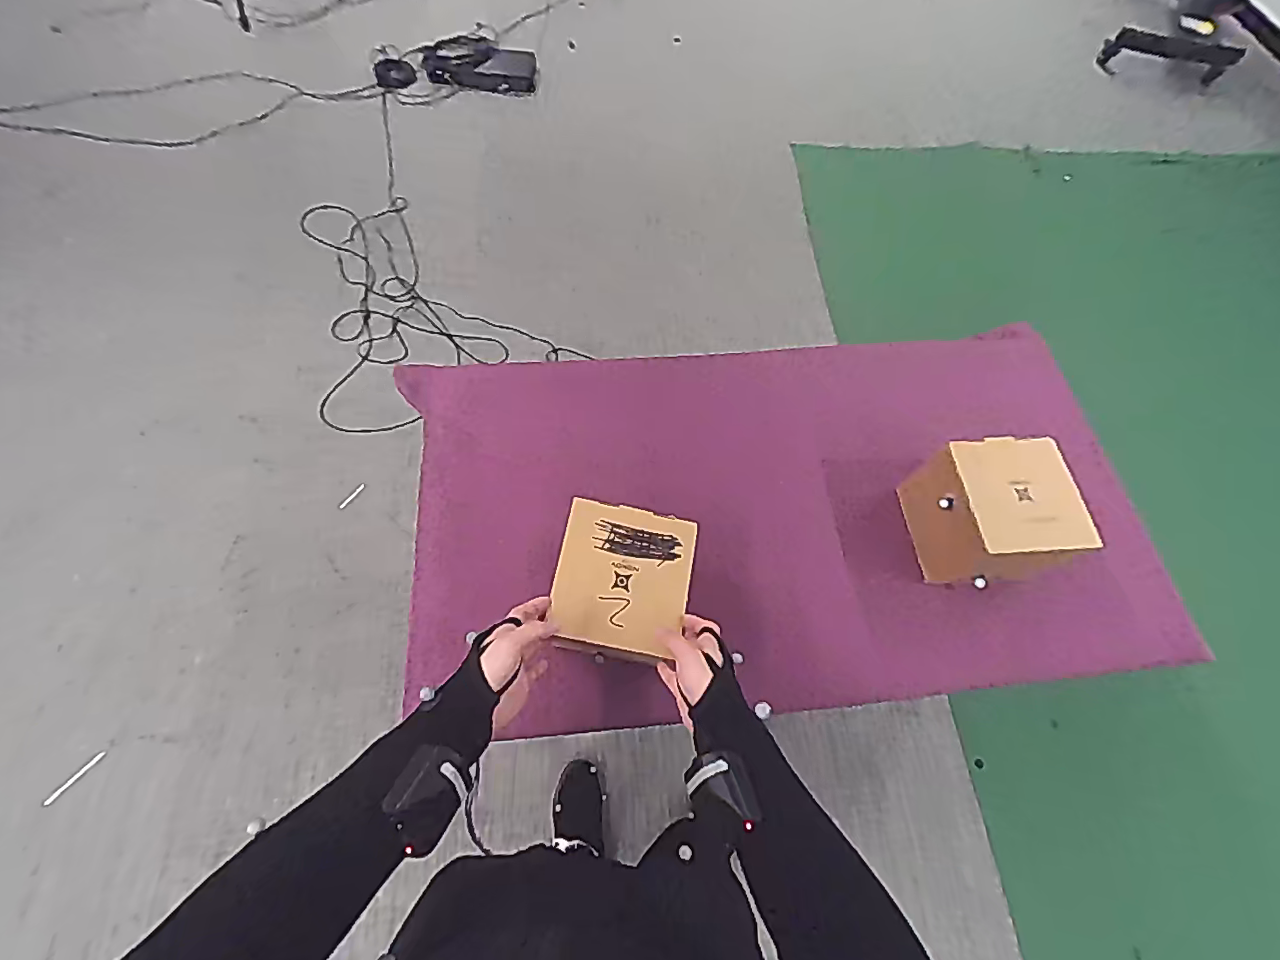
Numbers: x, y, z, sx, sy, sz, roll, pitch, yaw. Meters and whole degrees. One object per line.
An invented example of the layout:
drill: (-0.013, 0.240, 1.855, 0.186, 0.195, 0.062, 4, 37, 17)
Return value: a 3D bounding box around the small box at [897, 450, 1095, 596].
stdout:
small box: (0.526, 0.070, 0.833, 0.168, 0.176, 0.179, -2, 64, -3)
